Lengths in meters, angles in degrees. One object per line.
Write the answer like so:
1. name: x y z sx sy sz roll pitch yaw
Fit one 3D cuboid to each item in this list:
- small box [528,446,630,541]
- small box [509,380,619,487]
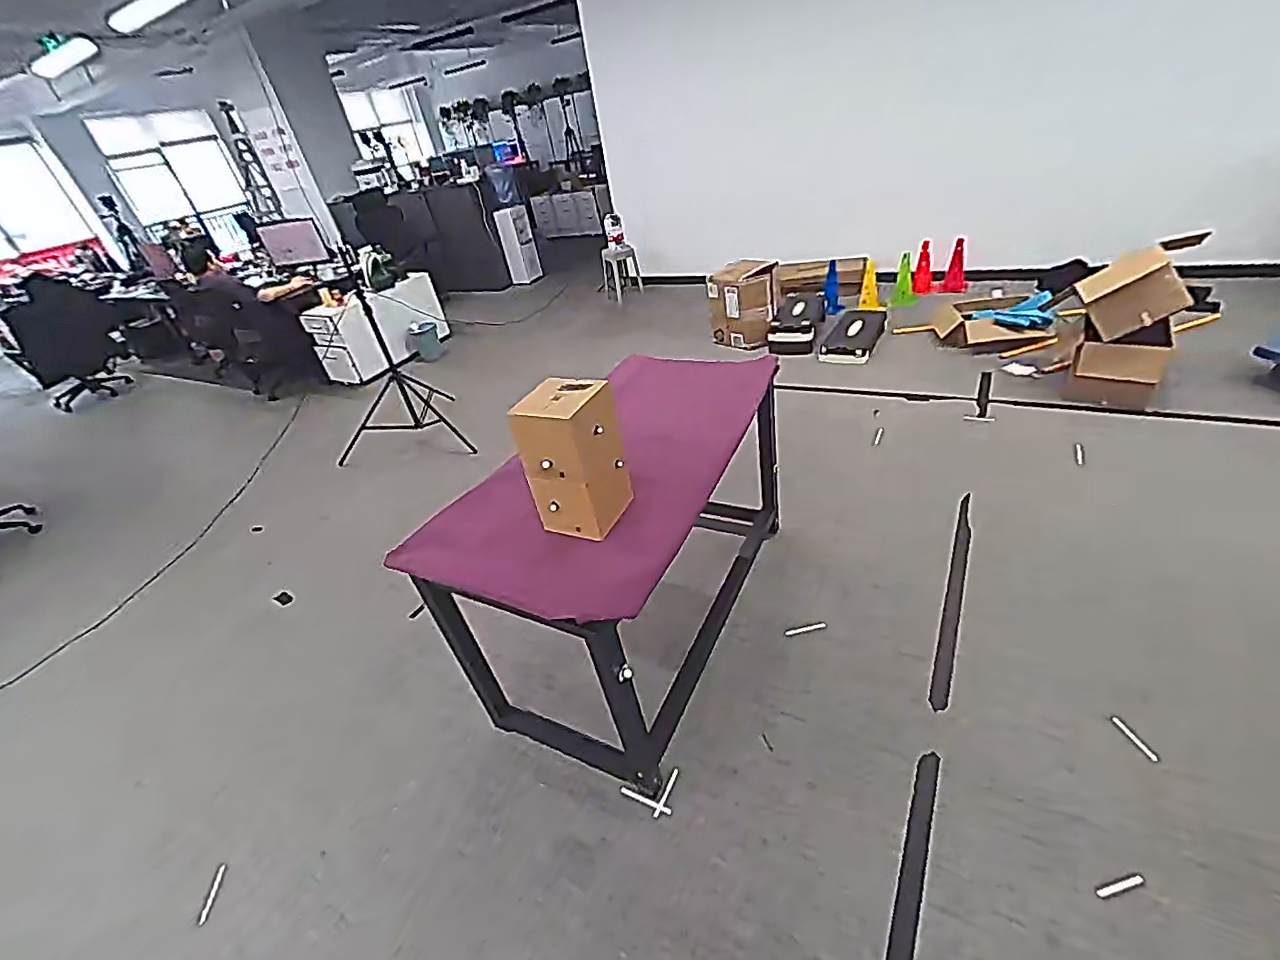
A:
1. small box: -0.138 0.026 1.309 0.168 0.176 0.179 8 38 26
2. small box: -0.160 -0.108 1.216 0.168 0.176 0.179 7 39 26
